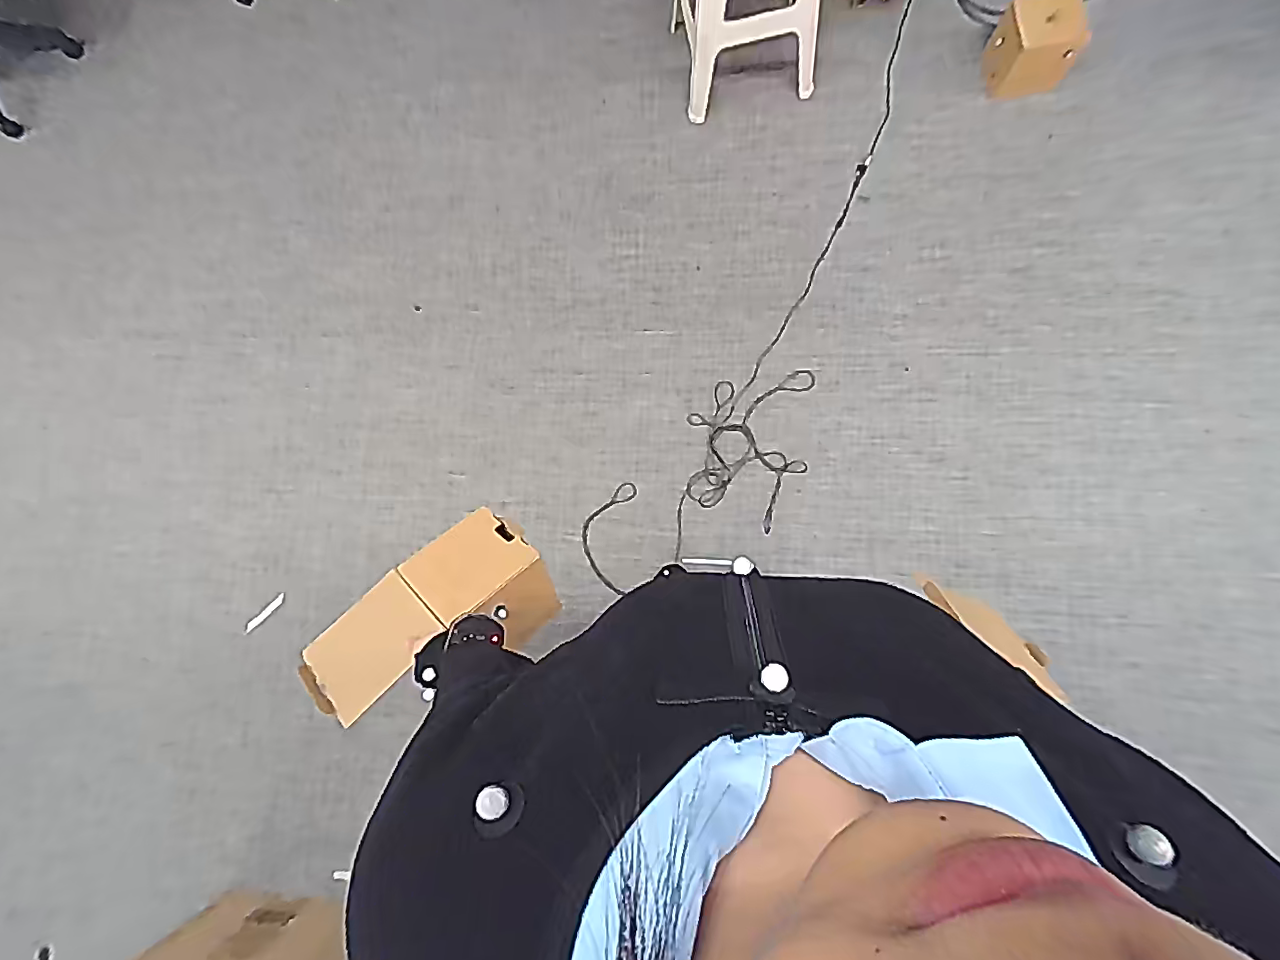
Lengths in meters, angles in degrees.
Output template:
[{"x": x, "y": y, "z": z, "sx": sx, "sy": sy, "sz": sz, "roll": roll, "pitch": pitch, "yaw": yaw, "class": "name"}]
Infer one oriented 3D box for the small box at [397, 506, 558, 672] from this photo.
[{"x": -0.263, "y": 0.185, "z": 0.908, "sx": 0.168, "sy": 0.176, "sz": 0.179, "roll": 33, "pitch": 58, "yaw": 33, "class": "small box"}]
